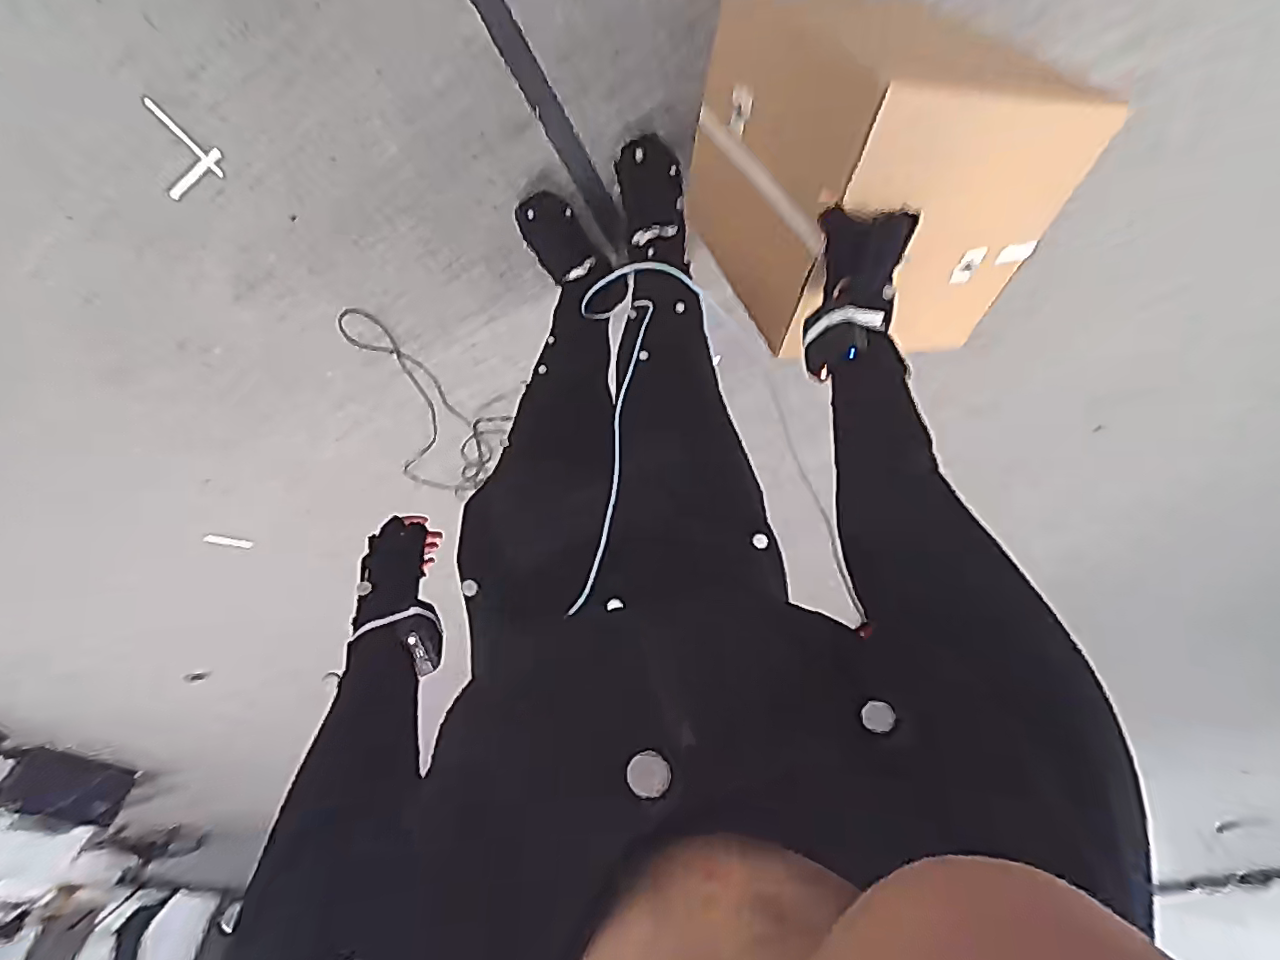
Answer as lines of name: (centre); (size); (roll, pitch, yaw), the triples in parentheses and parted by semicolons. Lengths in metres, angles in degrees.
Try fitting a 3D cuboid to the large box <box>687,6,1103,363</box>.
large box: (0.294, -0.418, 0.770); (0.320, 0.408, 0.320); (-7, 143, -15)
